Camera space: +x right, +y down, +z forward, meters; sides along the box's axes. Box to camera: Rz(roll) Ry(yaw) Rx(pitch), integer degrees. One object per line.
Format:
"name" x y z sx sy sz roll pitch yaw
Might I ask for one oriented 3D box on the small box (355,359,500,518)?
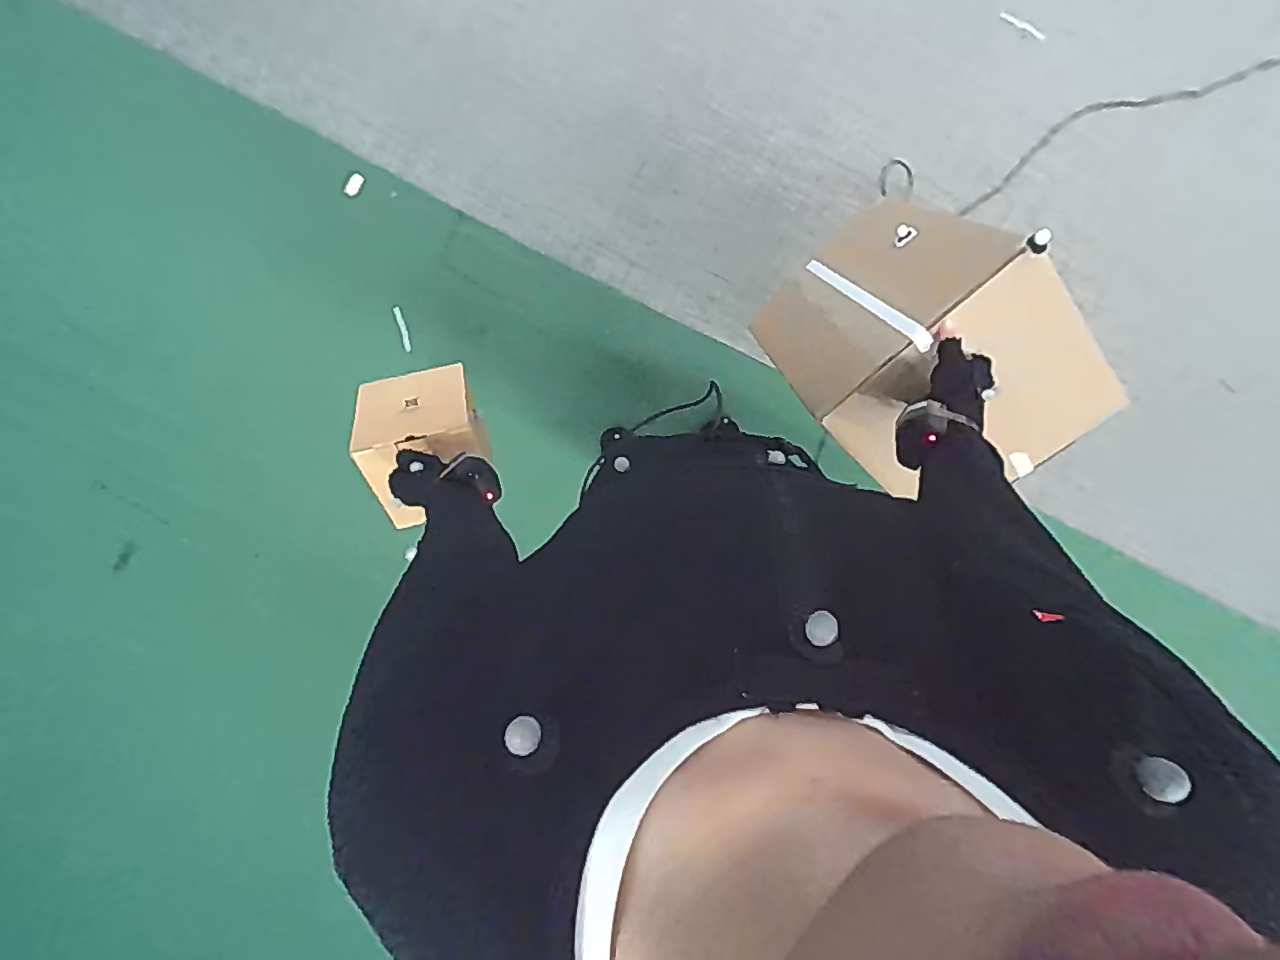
"small box" -0.335 -0.067 0.878 0.168 0.179 0.176 -14 136 -7
